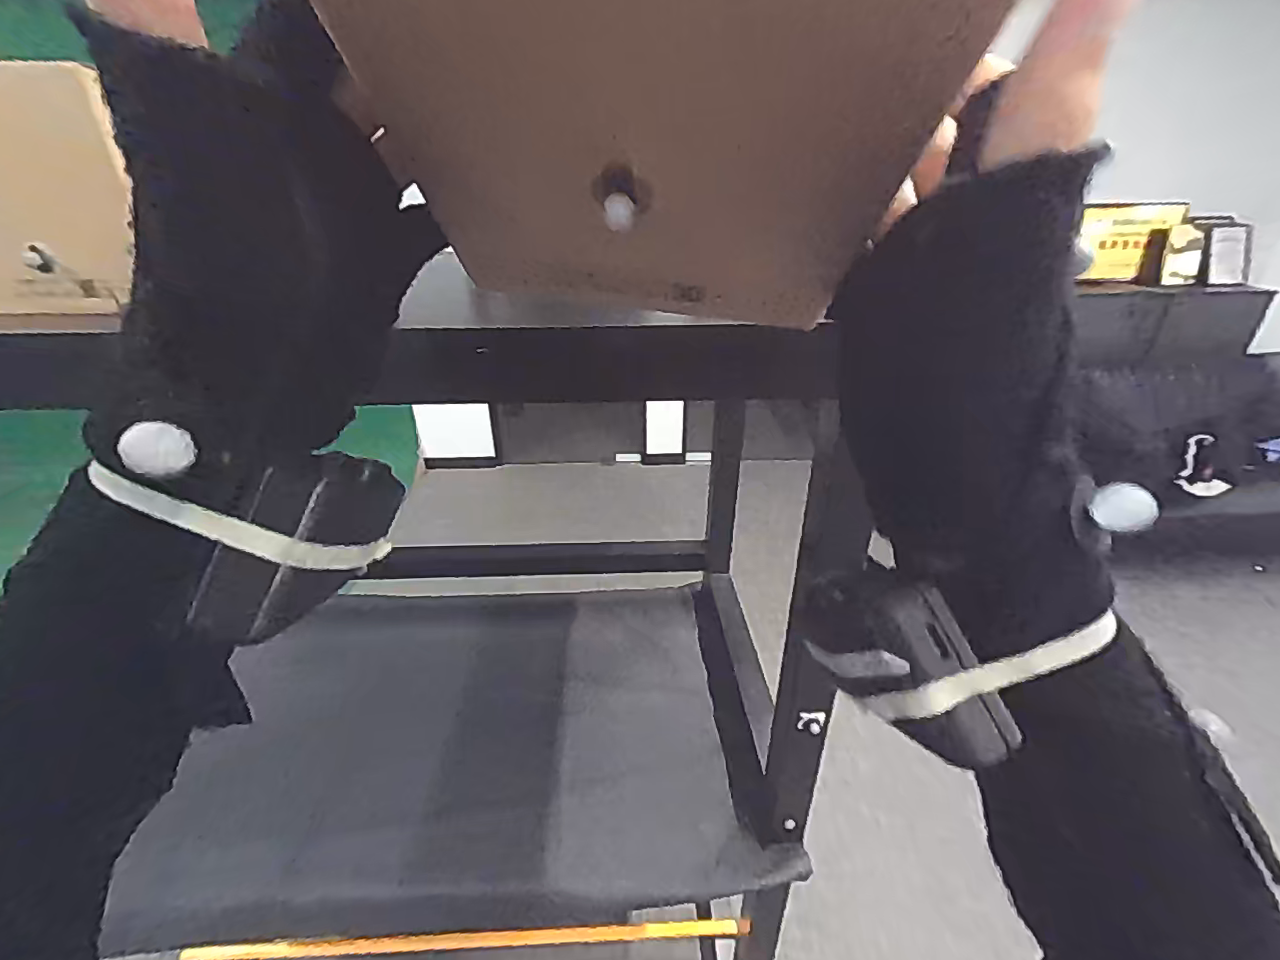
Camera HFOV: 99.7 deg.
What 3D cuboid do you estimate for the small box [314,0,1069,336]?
[{"bbox_3d":[0.019,-0.171,0.196,0.168,0.179,0.176,8,-10,2],"label":"small box"}]
